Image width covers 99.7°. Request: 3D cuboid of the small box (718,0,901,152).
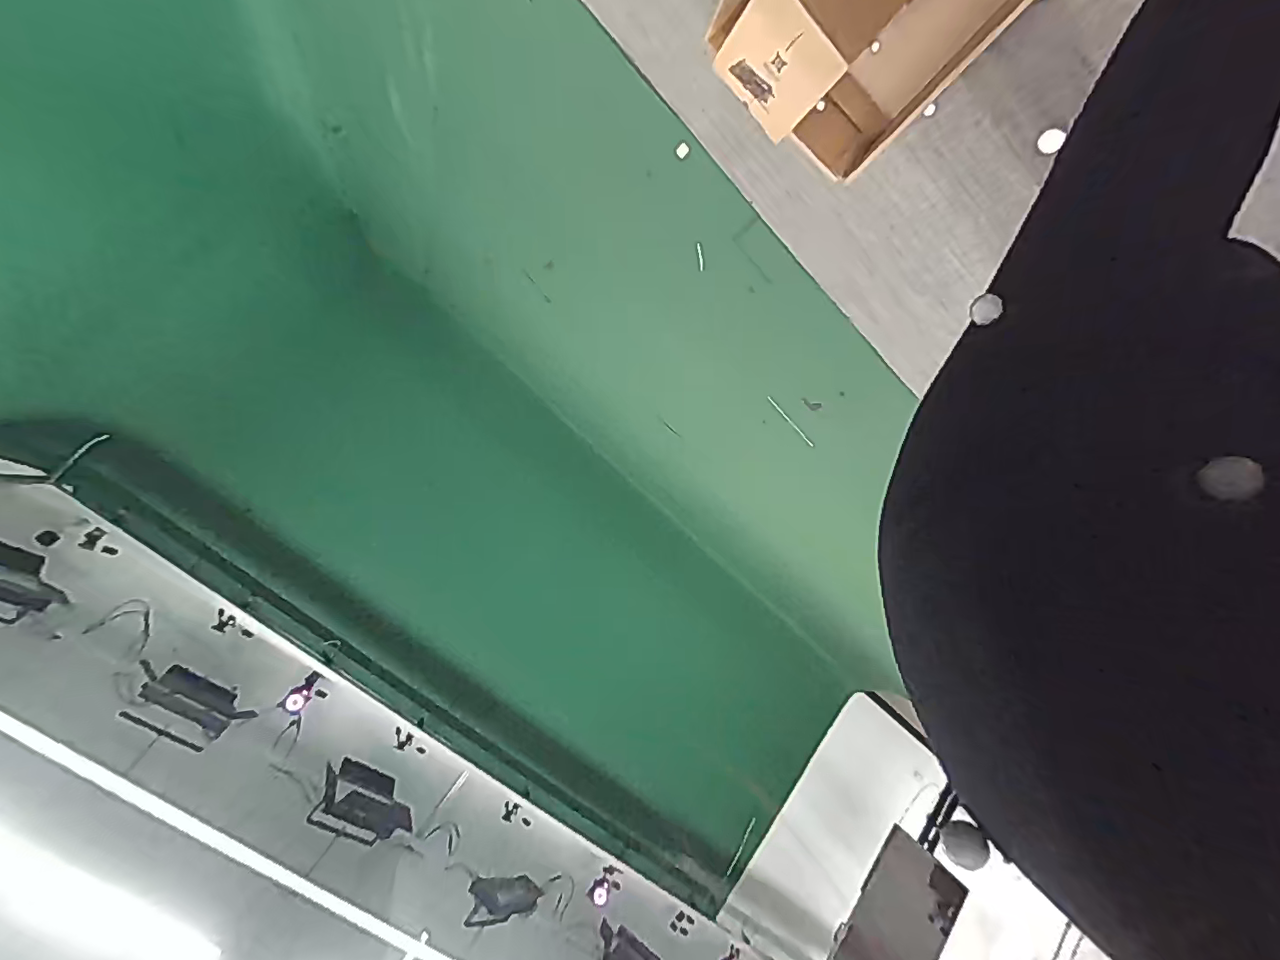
[{"bbox_3d":[0.262,-0.673,0.842,0.168,0.176,0.179,42,163,-14],"label":"small box"}]
